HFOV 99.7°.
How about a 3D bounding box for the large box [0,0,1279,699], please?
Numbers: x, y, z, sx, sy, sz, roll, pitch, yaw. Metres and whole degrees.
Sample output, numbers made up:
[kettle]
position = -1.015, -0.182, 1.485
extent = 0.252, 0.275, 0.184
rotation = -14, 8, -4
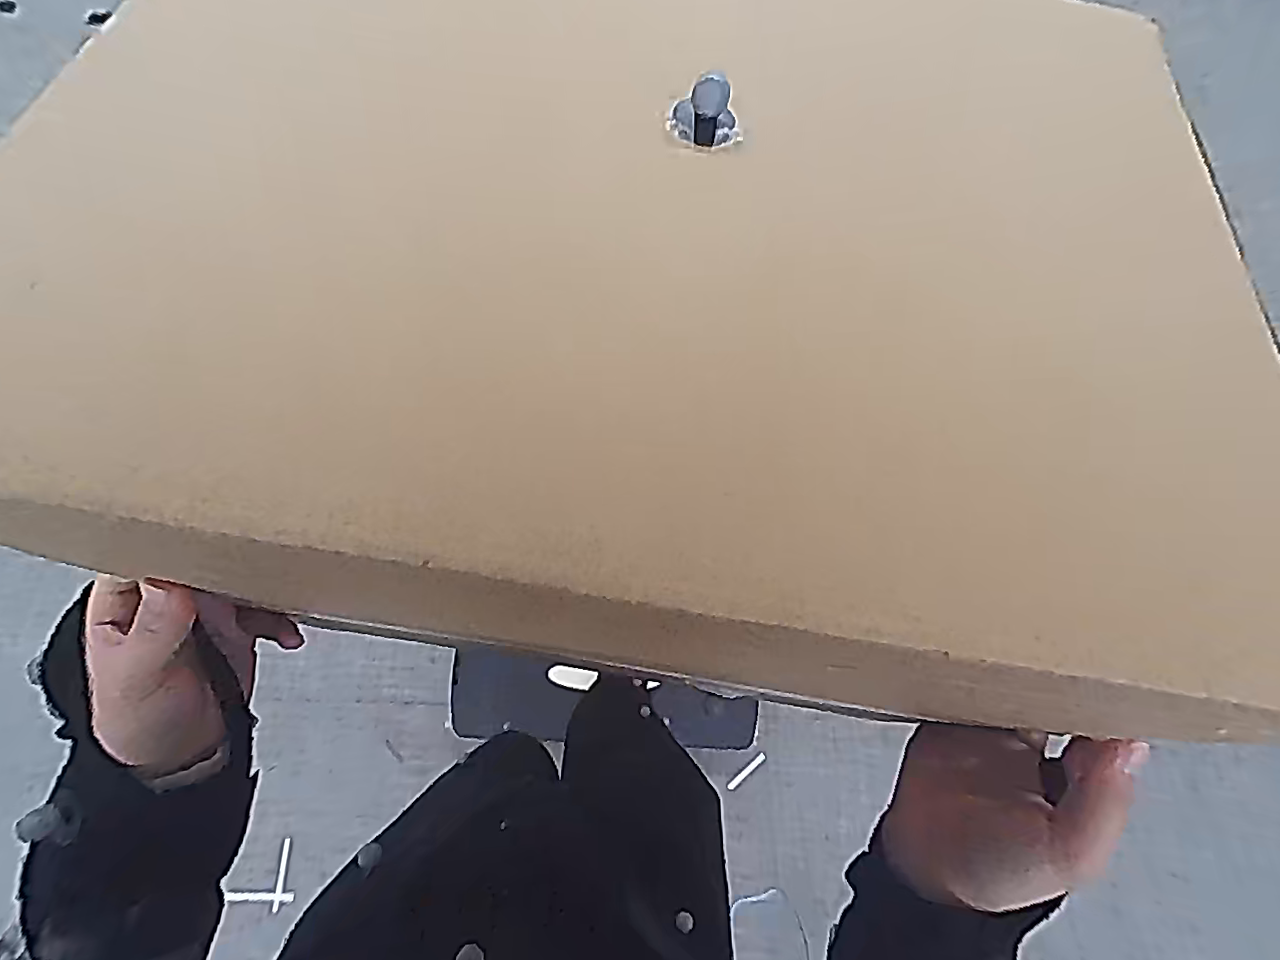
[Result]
[large box]
position = 0.005, -0.068, 0.321
extent = 0.408, 0.320, 0.320
rotation = 9, 69, -2
